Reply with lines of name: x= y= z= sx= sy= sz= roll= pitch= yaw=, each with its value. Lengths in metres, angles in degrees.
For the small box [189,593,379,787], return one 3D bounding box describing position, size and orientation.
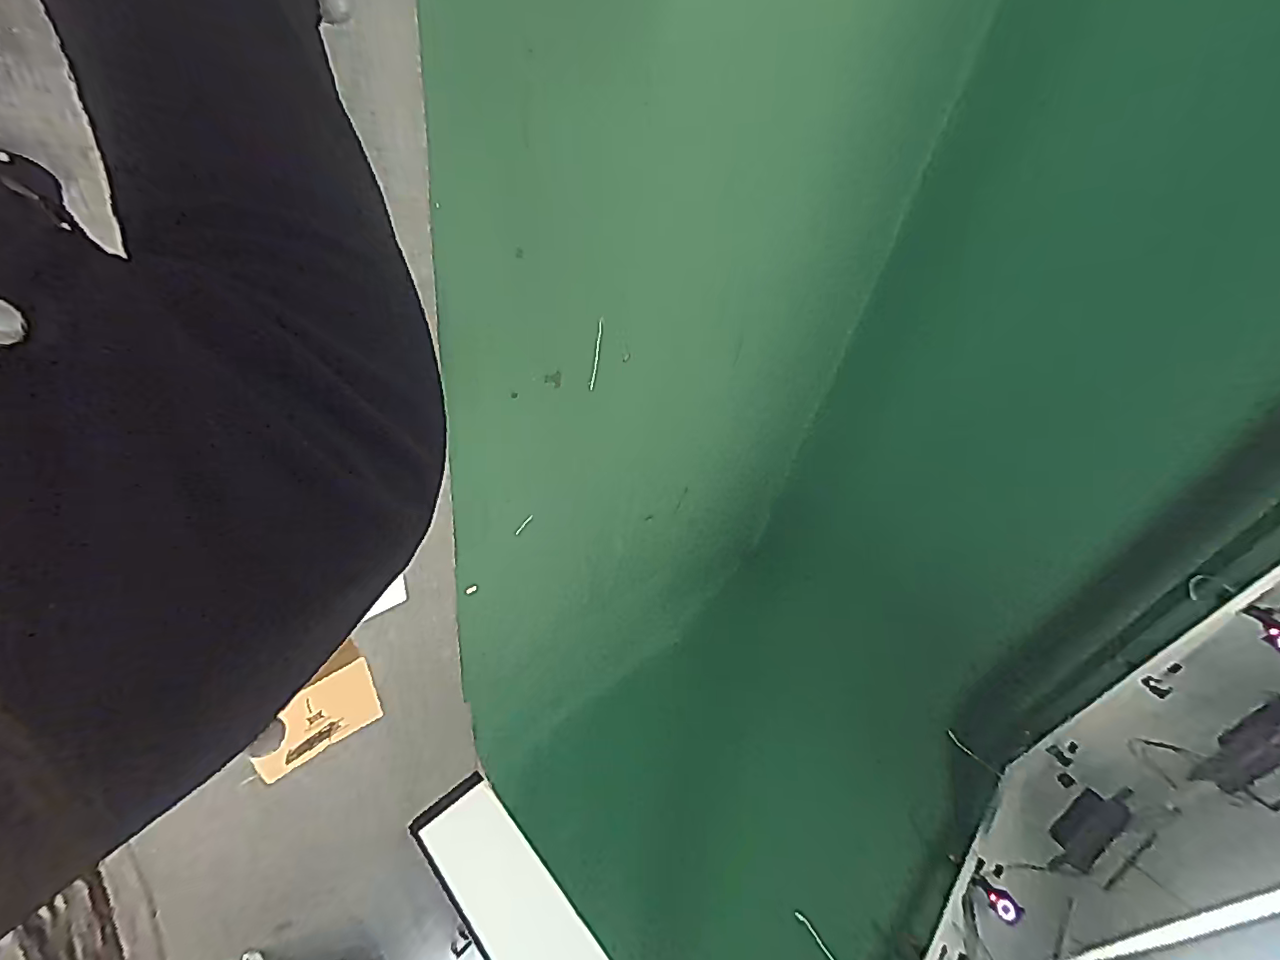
small box: x=-0.514 y=0.301 z=0.795 sx=0.168 sy=0.176 sz=0.179 roll=-29 pitch=146 yaw=-34
